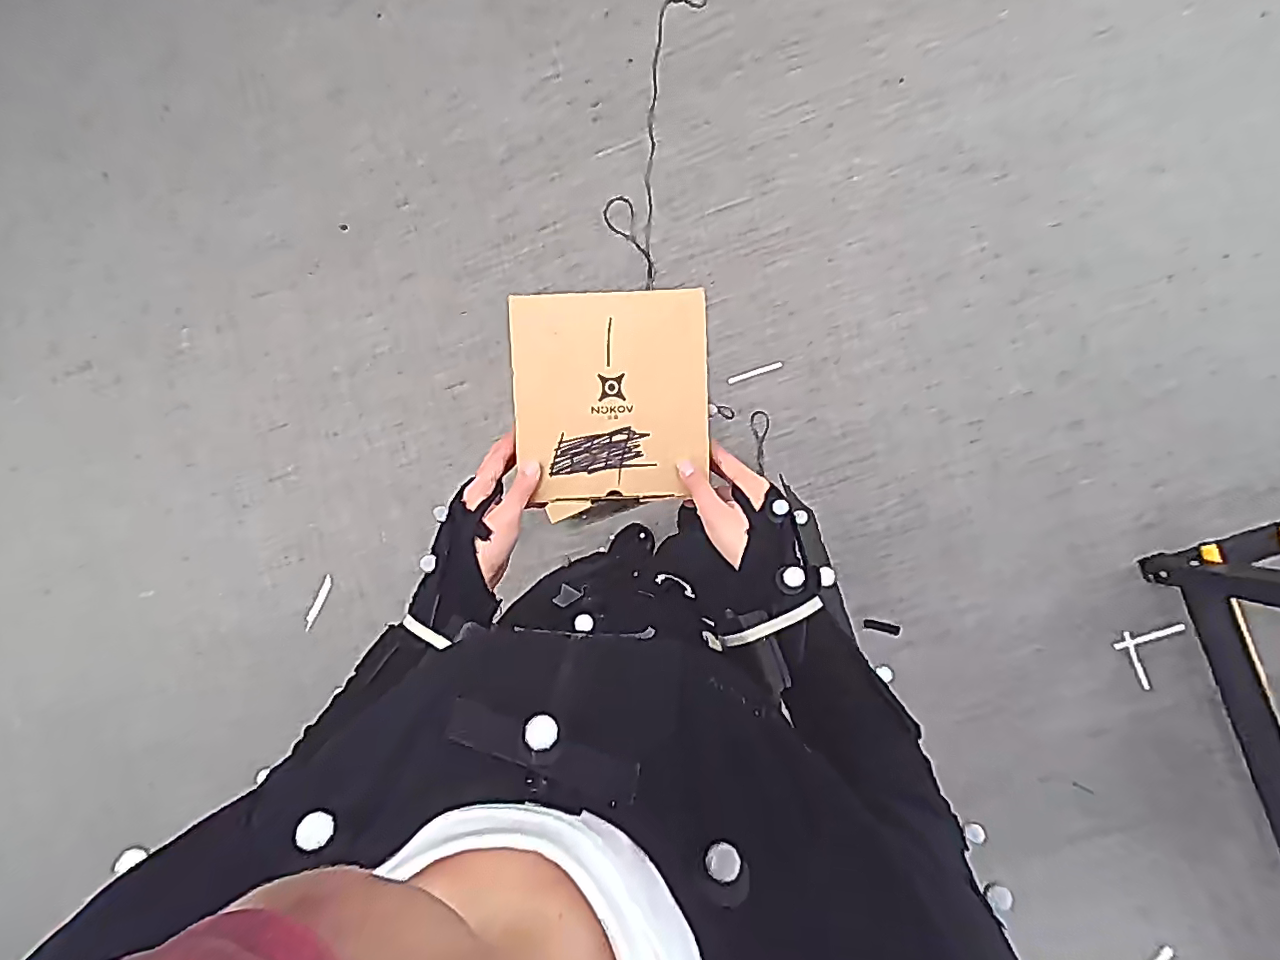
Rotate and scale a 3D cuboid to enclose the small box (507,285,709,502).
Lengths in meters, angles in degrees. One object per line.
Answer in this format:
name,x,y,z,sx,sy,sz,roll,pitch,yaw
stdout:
small box,-0.027,-0.074,0.521,0.168,0.176,0.179,0,93,-2
